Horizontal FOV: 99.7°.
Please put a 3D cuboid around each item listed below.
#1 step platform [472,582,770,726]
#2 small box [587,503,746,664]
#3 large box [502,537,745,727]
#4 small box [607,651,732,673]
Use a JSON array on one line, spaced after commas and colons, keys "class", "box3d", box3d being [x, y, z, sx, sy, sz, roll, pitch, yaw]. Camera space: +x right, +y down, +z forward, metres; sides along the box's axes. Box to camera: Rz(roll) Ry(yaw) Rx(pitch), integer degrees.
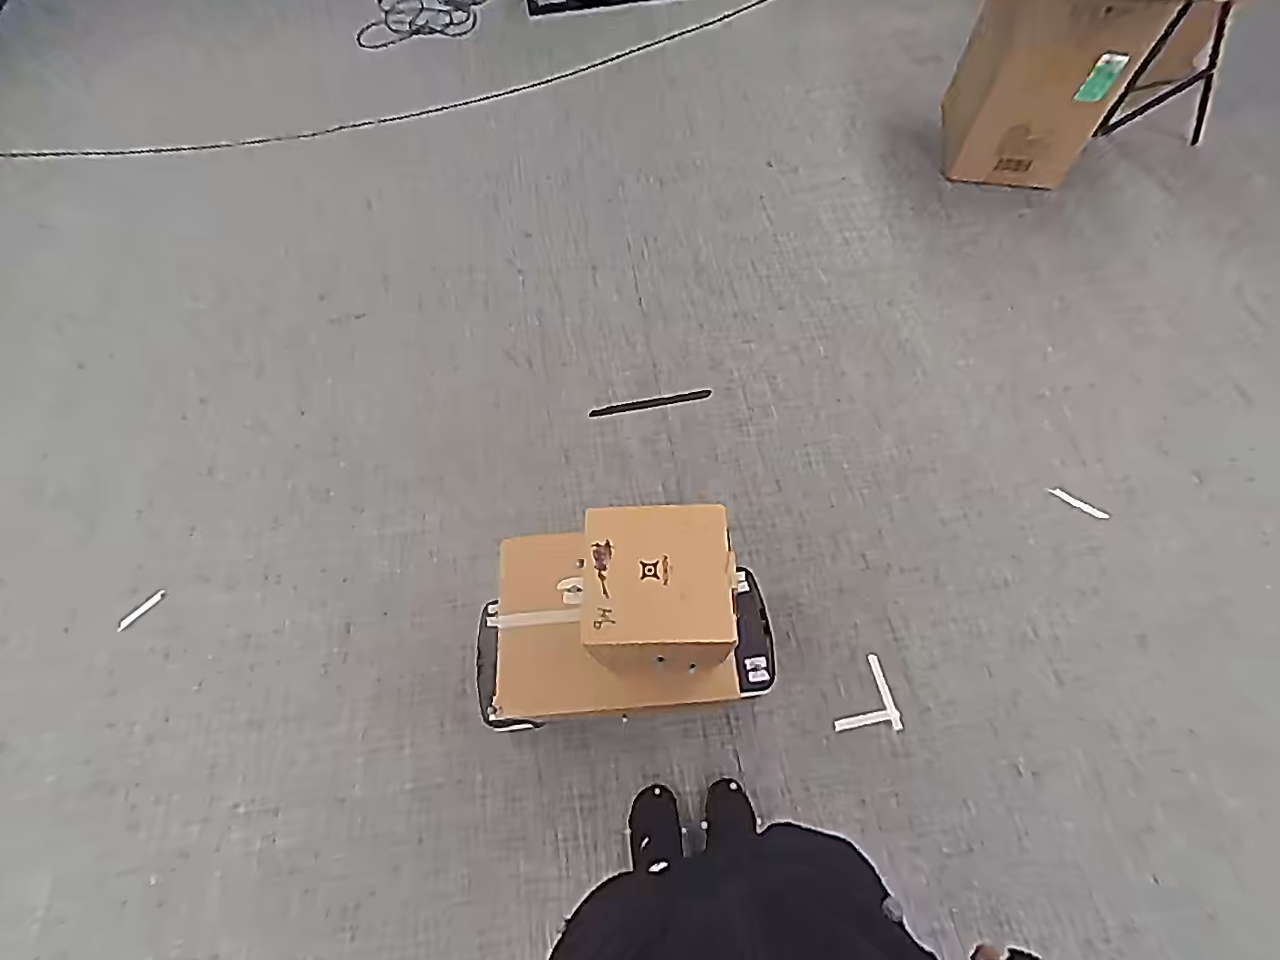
[{"class": "step platform", "box3d": [-0.042, 0.412, 1.282, 0.684, 0.204, 0.286, -4, 64, 2]}, {"class": "small box", "box3d": [0.030, 0.138, 0.692, 0.179, 0.176, 0.168, -1, 63, 2]}, {"class": "large box", "box3d": [-0.029, 0.301, 1.071, 0.408, 0.320, 0.320, -6, 63, 2]}, {"class": "small box", "box3d": [0.040, 0.204, 0.841, 0.179, 0.176, 0.168, -3, 64, 2]}]
